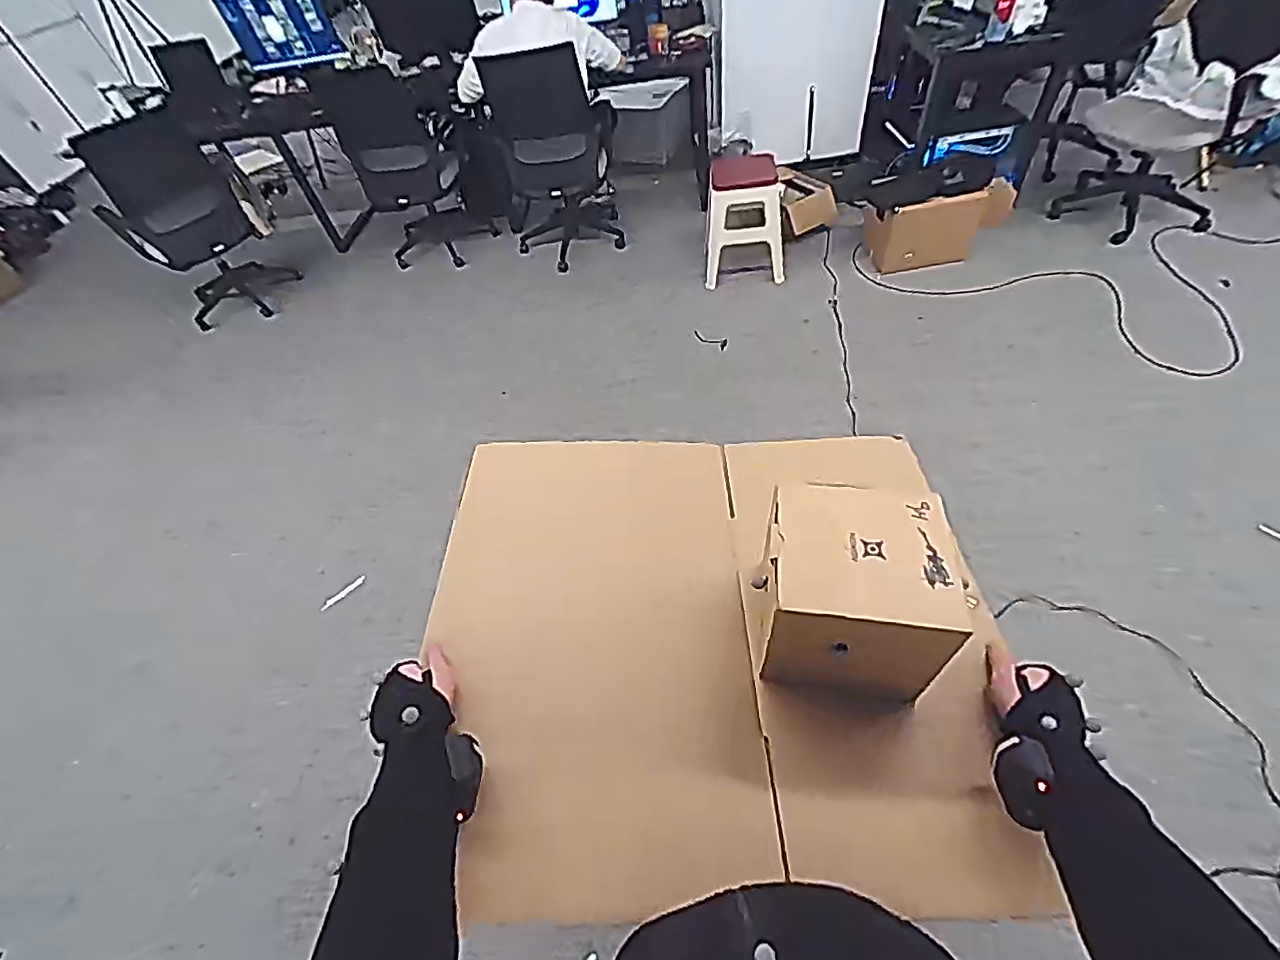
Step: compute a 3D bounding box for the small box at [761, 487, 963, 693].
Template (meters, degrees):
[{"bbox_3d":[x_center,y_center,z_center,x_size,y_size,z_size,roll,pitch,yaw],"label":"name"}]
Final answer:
[{"bbox_3d":[0.233,0.127,0.618,0.179,0.176,0.168,4,50,10],"label":"small box"}]
